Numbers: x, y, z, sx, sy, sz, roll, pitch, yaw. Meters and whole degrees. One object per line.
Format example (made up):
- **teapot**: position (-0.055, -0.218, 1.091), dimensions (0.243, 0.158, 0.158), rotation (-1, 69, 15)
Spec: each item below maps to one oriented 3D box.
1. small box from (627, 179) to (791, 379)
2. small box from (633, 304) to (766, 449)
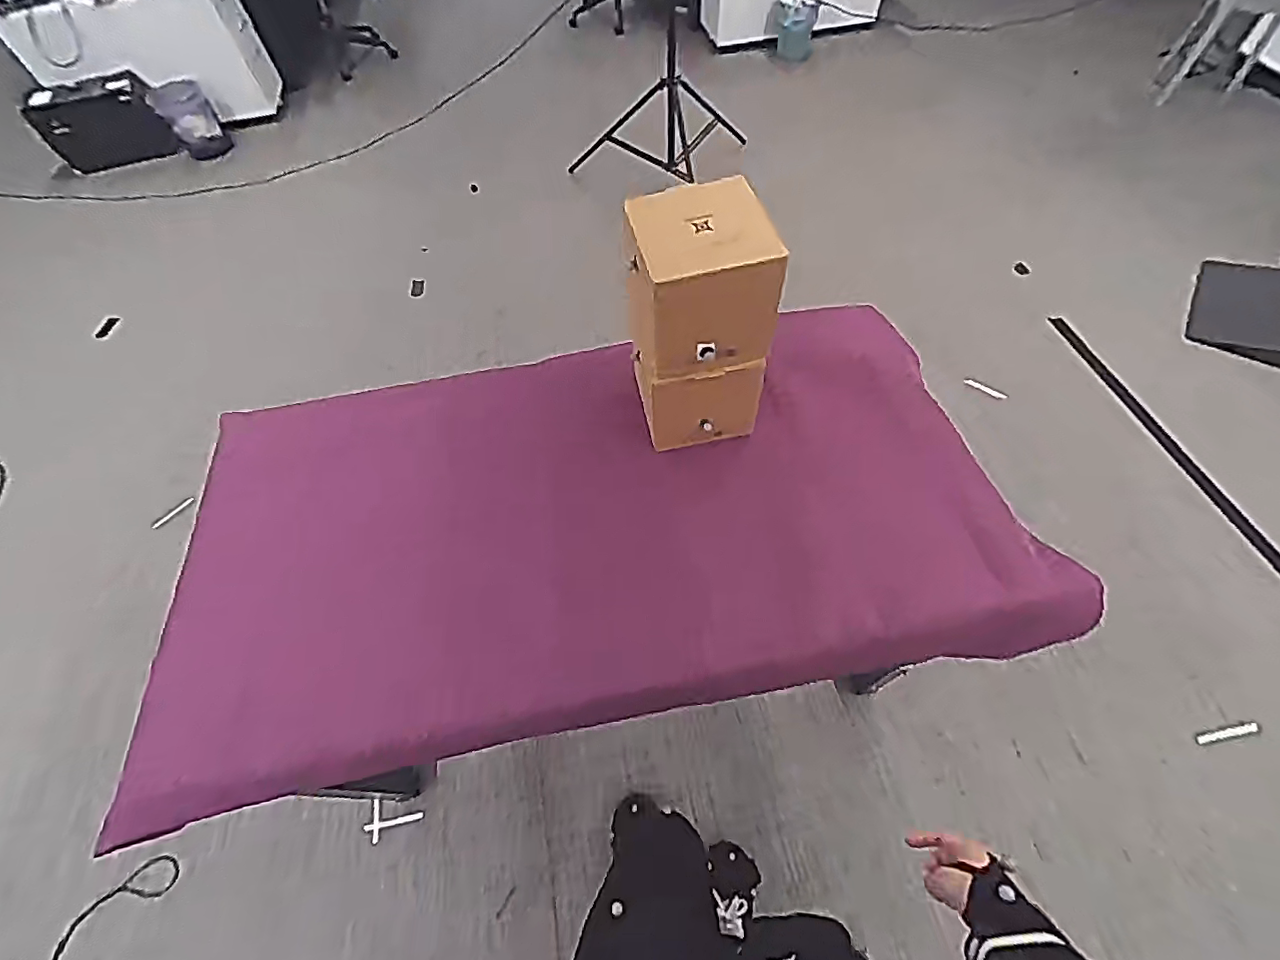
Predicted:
- **small box**: position (0.082, -0.266, 0.728), dimensions (0.168, 0.176, 0.179), rotation (-13, 60, -4)
- **small box**: position (0.086, -0.175, 0.864), dimensions (0.168, 0.176, 0.179), rotation (-11, 59, -3)
